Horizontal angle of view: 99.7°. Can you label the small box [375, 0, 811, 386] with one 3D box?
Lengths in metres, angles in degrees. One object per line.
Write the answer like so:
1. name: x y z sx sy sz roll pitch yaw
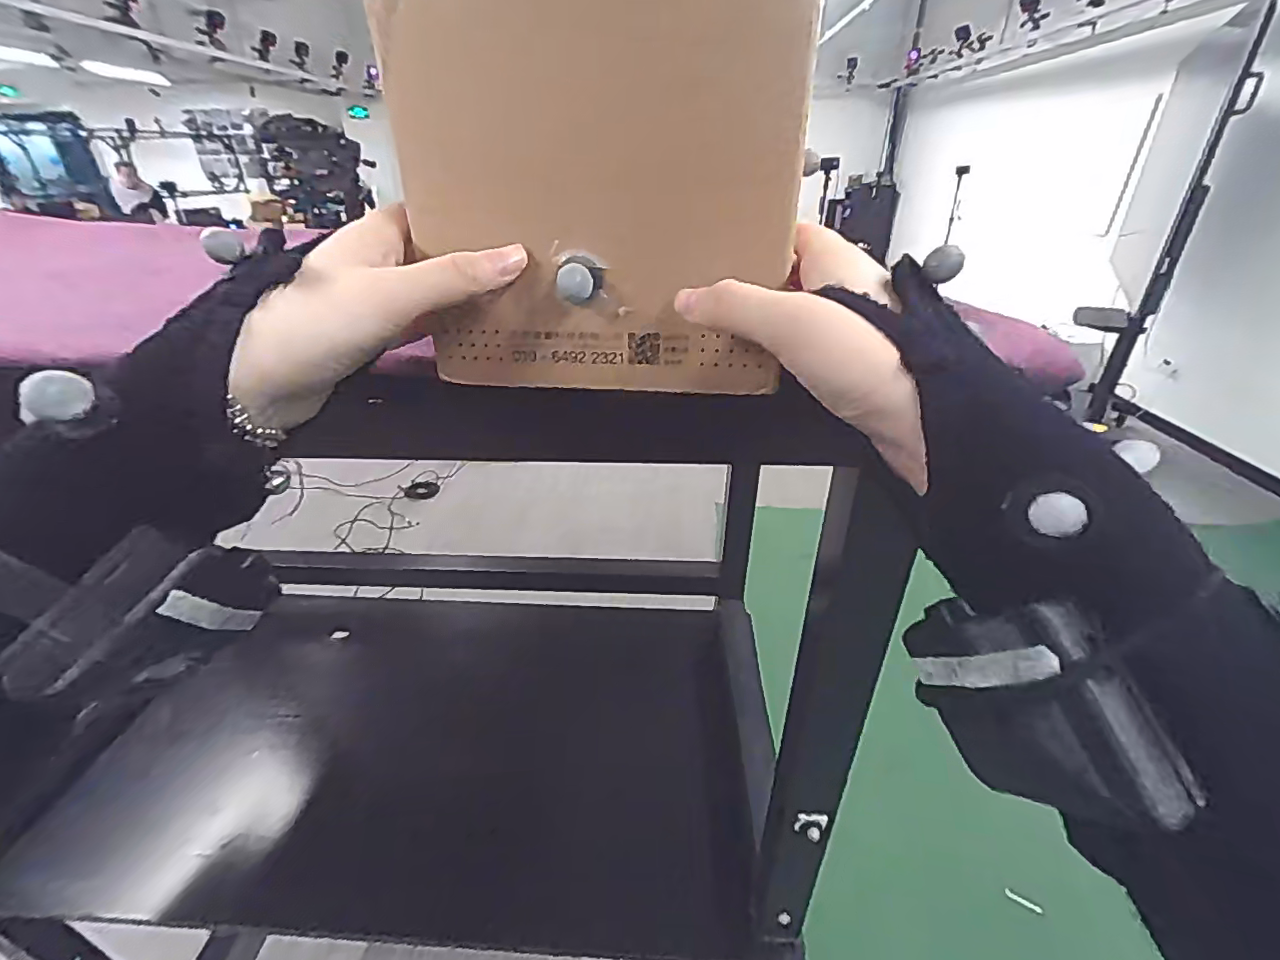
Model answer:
1. small box: -0.009 -0.160 0.288 0.168 0.176 0.179 3 30 9
